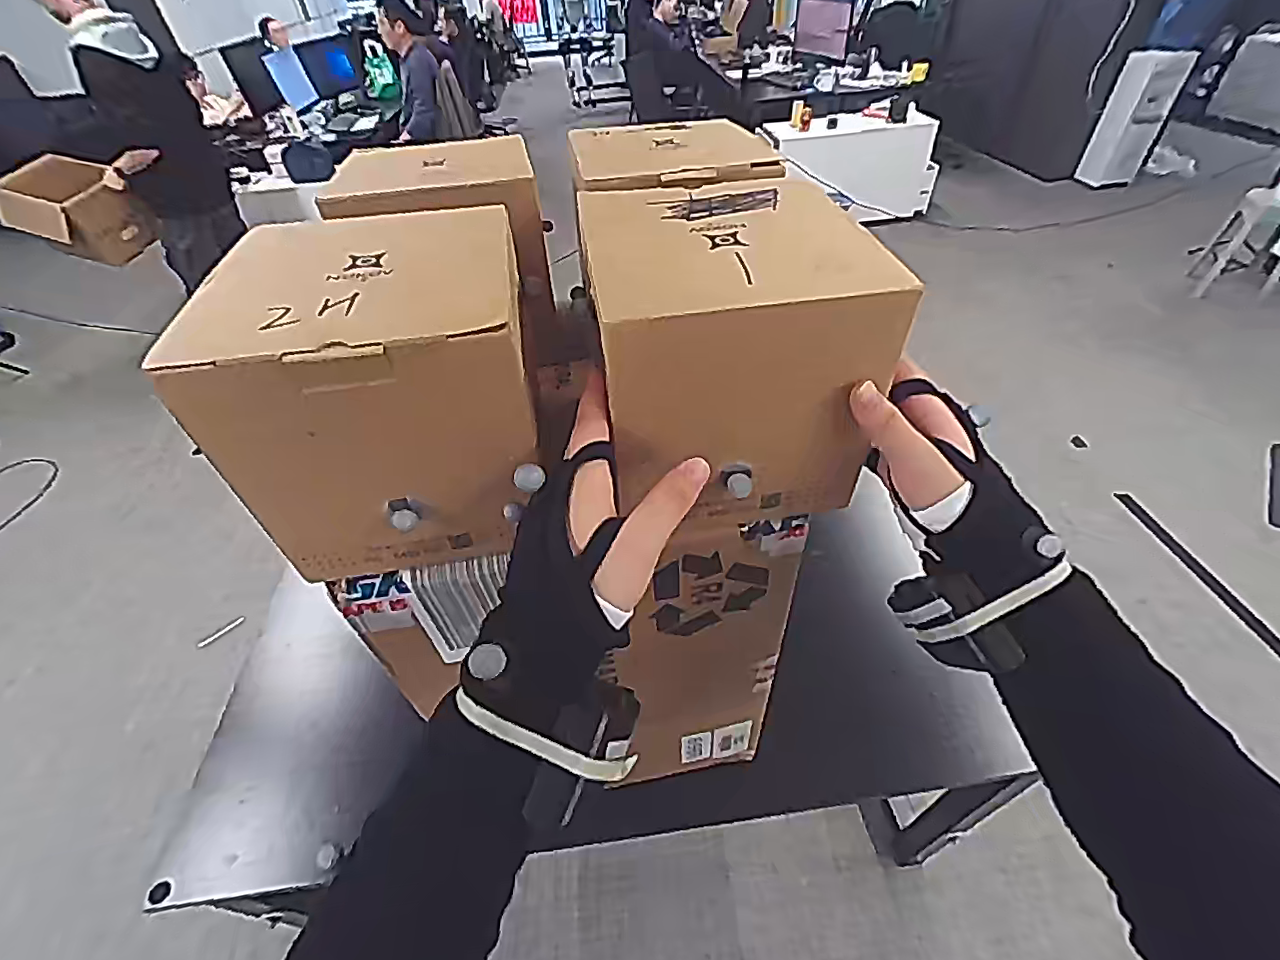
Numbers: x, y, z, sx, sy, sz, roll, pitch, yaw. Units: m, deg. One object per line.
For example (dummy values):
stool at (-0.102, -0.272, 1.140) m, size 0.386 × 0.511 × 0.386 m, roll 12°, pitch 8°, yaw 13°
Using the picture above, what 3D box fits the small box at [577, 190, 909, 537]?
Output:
small box at (0.049, -0.085, 0.386) m, size 0.168 × 0.176 × 0.179 m, roll -8°, pitch 45°, yaw -4°
